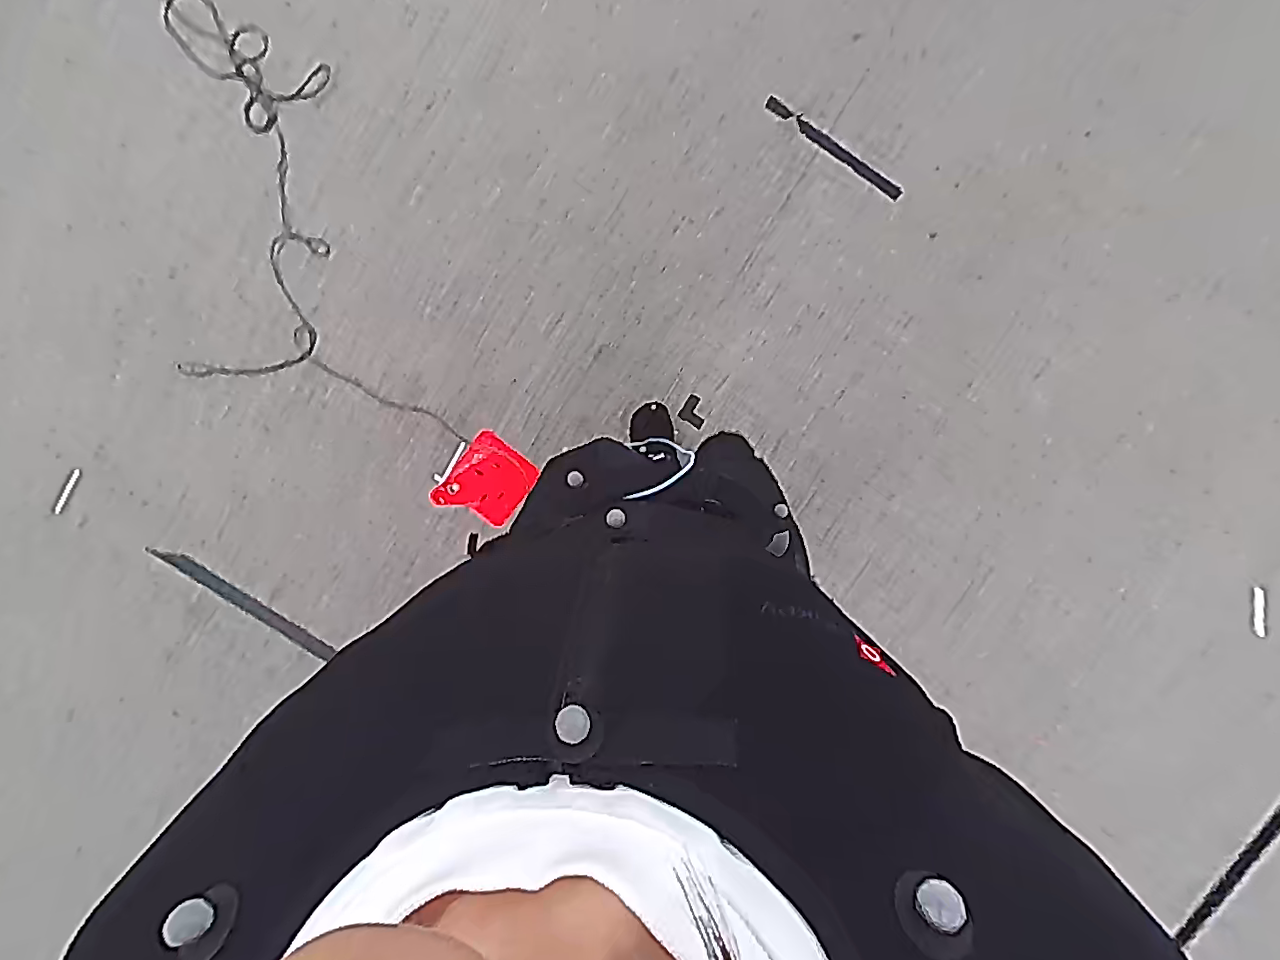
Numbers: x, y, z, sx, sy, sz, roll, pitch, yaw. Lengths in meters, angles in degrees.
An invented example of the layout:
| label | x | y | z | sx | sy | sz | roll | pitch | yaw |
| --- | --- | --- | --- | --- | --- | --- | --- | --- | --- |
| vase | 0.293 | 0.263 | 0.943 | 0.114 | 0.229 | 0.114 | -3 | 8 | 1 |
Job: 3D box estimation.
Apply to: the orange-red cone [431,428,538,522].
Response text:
| label | x | y | z | sx | sy | sz | roll | pitch | yaw |
| --- | --- | --- | --- | --- | --- | --- | --- | --- | --- |
| orange-red cone | -0.398 | 0.009 | 1.265 | 0.199 | 0.360 | 0.198 | 40 | 97 | -4 |
